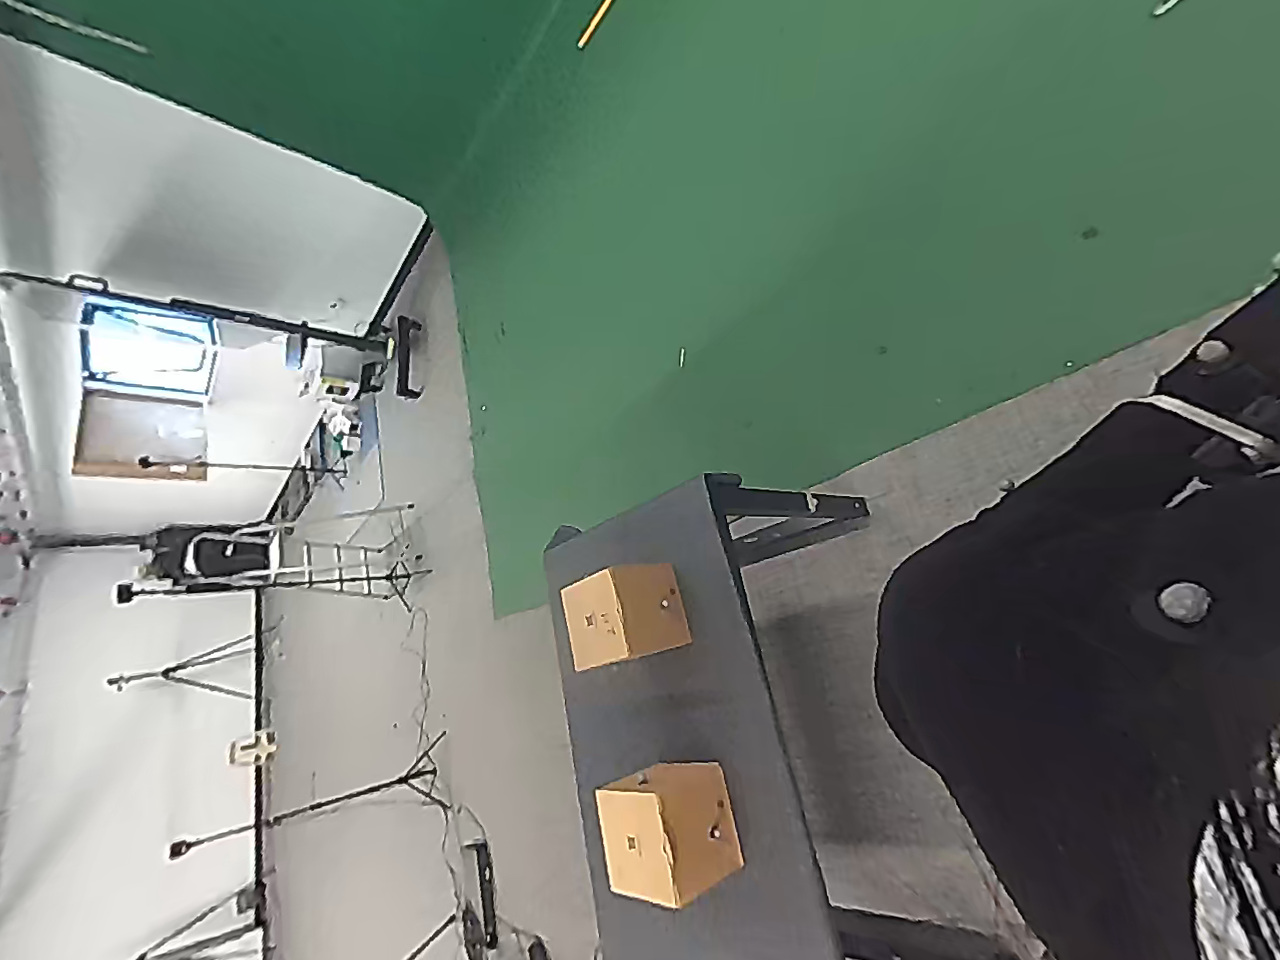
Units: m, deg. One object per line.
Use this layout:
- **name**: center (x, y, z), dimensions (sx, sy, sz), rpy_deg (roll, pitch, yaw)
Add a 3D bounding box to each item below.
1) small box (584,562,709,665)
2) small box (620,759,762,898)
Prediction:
- **small box**: center (0.012, 0.271, 1.107), dimensions (0.179, 0.176, 0.168), rpy_deg (-33, 64, 43)
- **small box**: center (0.091, 0.621, 0.988), dimensions (0.179, 0.176, 0.168), rpy_deg (-31, 63, 44)
